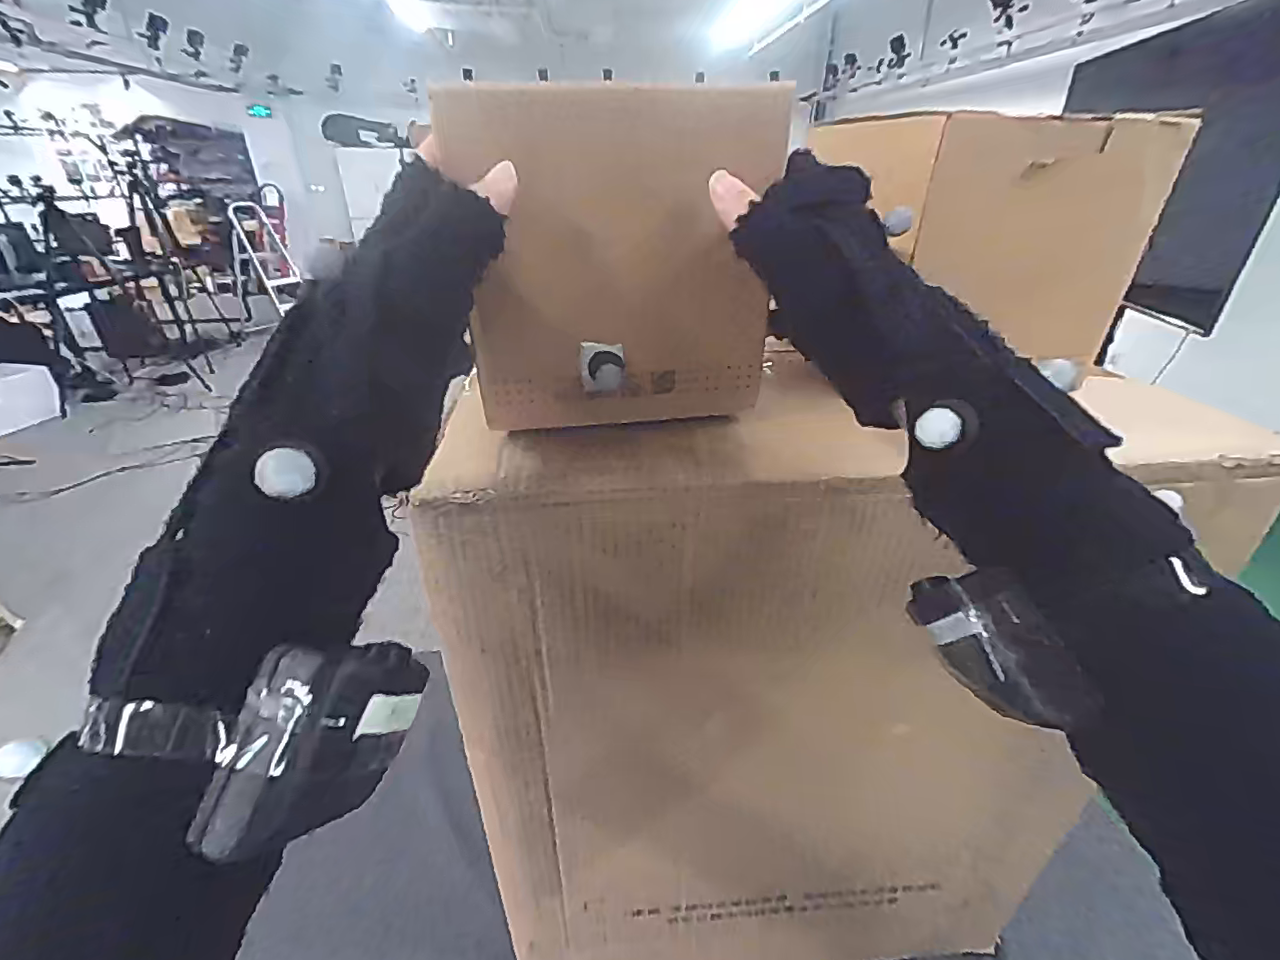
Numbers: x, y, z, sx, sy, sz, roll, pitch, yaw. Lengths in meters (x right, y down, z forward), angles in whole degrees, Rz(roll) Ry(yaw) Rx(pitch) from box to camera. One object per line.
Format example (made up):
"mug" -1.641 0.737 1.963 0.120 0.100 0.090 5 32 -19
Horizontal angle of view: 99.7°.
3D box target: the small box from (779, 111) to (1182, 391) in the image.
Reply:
"small box" 0.220 -0.171 0.410 0.168 0.176 0.179 -6 30 -9
